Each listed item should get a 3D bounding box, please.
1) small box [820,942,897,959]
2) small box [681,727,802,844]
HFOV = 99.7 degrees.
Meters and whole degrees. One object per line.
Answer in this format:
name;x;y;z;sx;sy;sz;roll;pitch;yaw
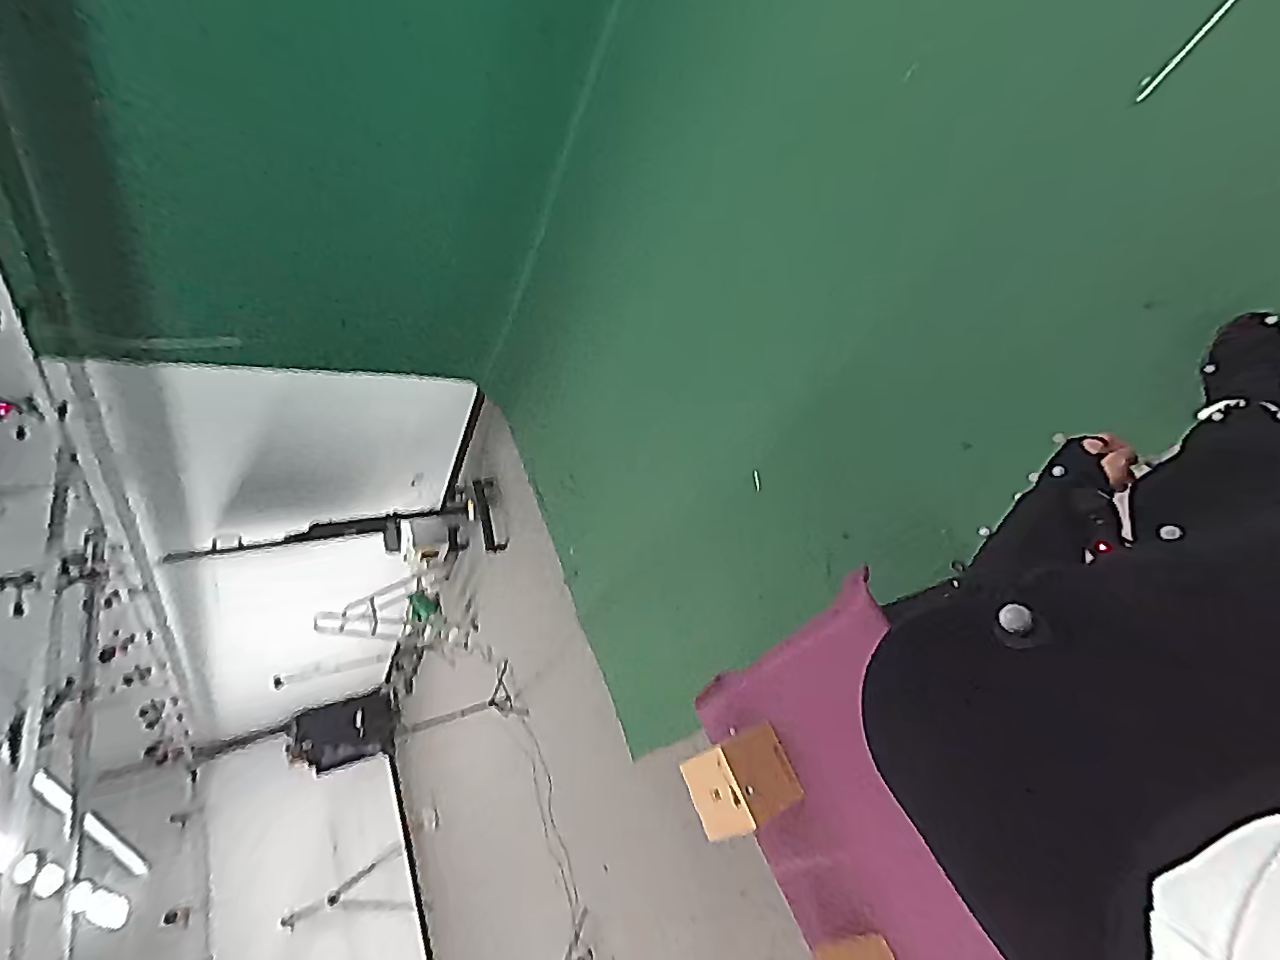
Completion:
small box;0.412;1.019;1.022;0.179;0.176;0.168;-56;51;39
small box;0.229;0.687;1.223;0.179;0.176;0.168;-52;55;41
